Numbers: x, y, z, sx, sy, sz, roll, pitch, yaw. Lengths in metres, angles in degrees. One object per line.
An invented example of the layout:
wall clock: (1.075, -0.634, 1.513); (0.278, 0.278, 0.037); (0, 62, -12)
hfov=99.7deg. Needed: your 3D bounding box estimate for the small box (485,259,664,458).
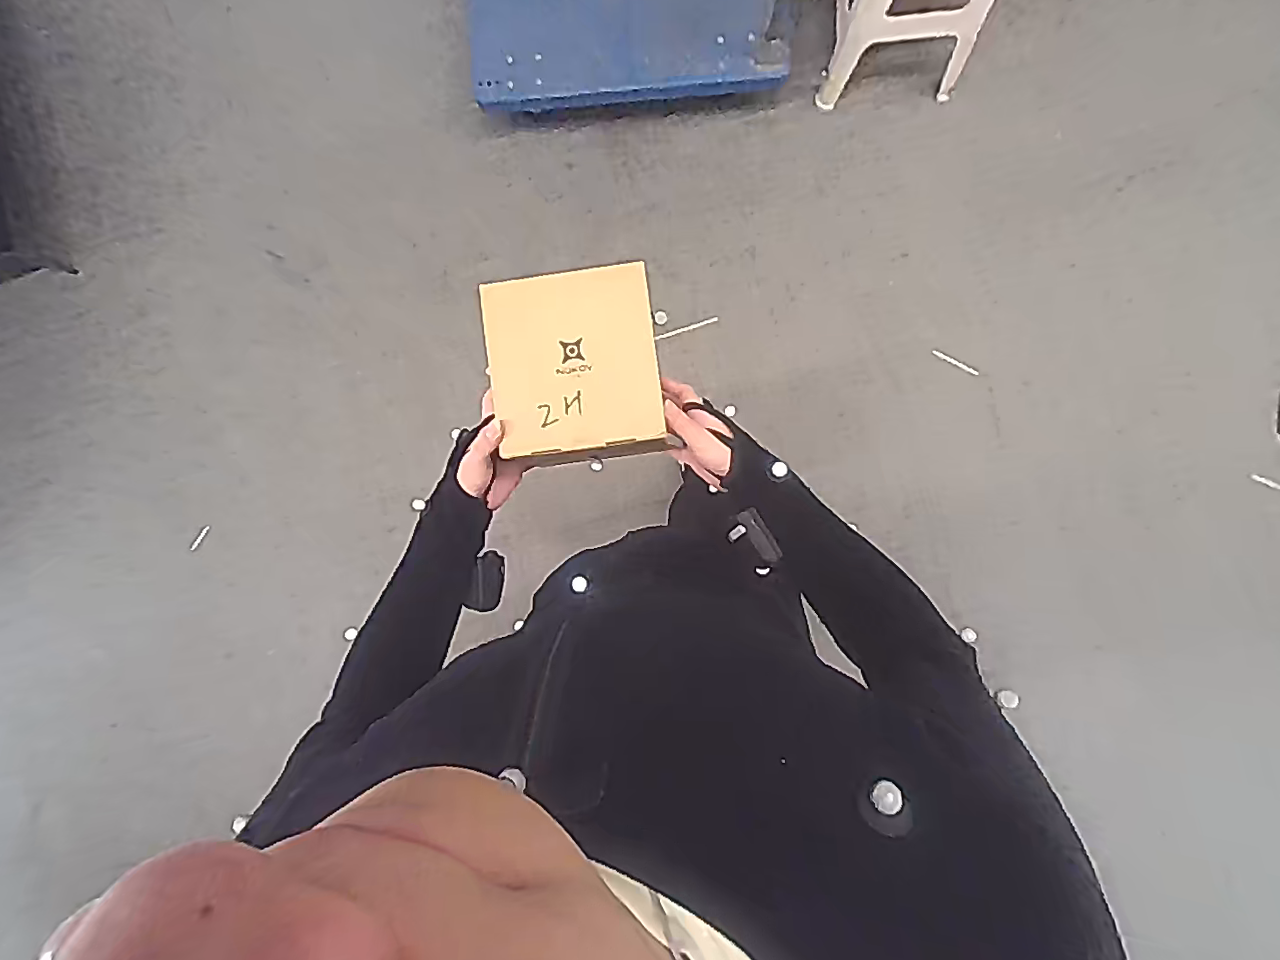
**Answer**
small box: (-0.065, -0.124, 0.616); (0.168, 0.176, 0.179); (-7, 89, 2)
